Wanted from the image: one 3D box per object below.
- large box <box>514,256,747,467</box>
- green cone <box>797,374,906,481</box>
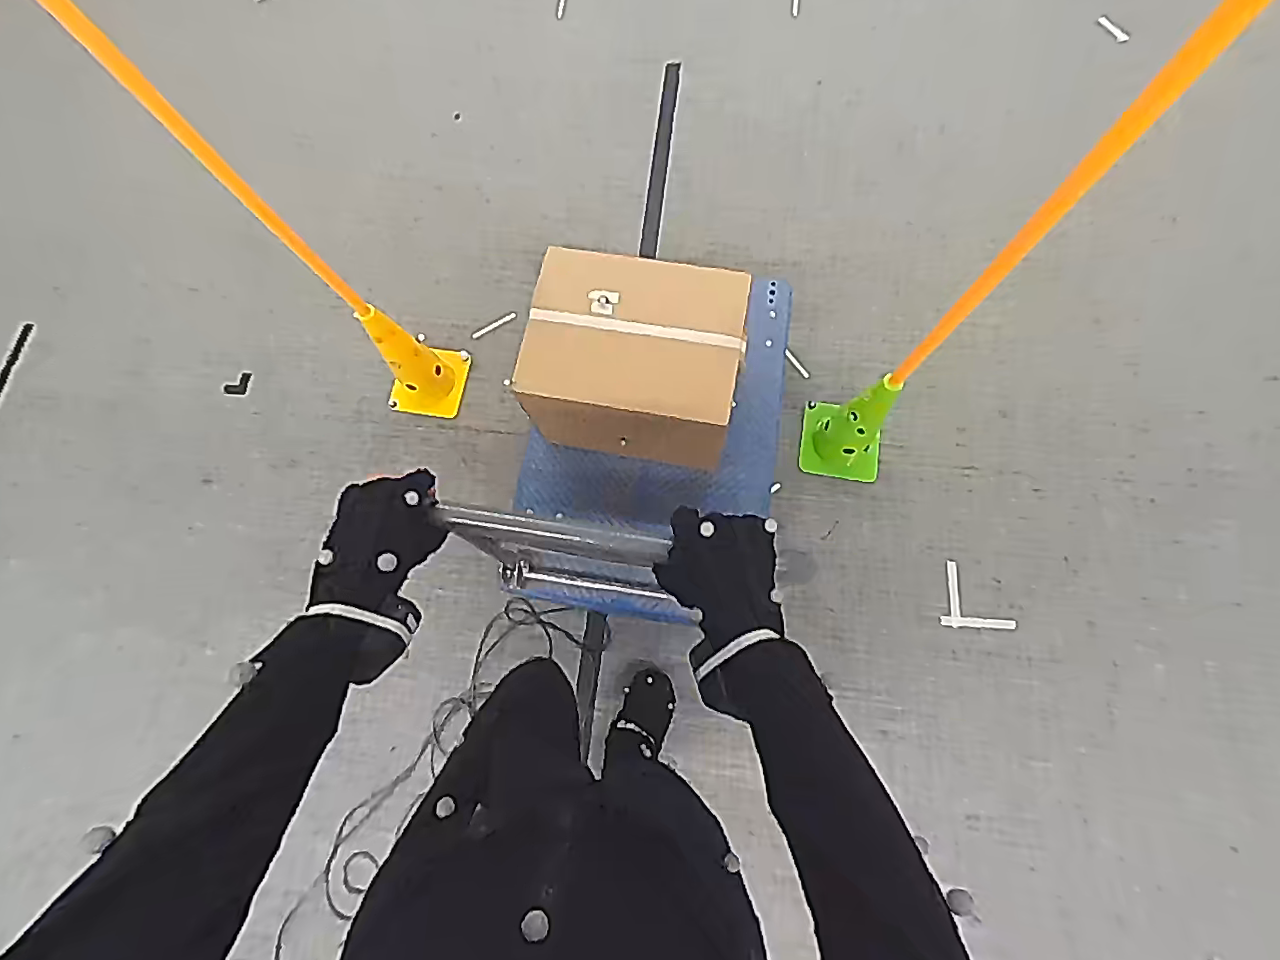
[{"bbox_3d":[-0.003,-0.236,1.166,0.408,0.320,0.320,10,77,7],"label":"large box"},{"bbox_3d":[0.518,-0.148,1.264,0.202,0.368,0.200,10,76,4],"label":"green cone"}]
